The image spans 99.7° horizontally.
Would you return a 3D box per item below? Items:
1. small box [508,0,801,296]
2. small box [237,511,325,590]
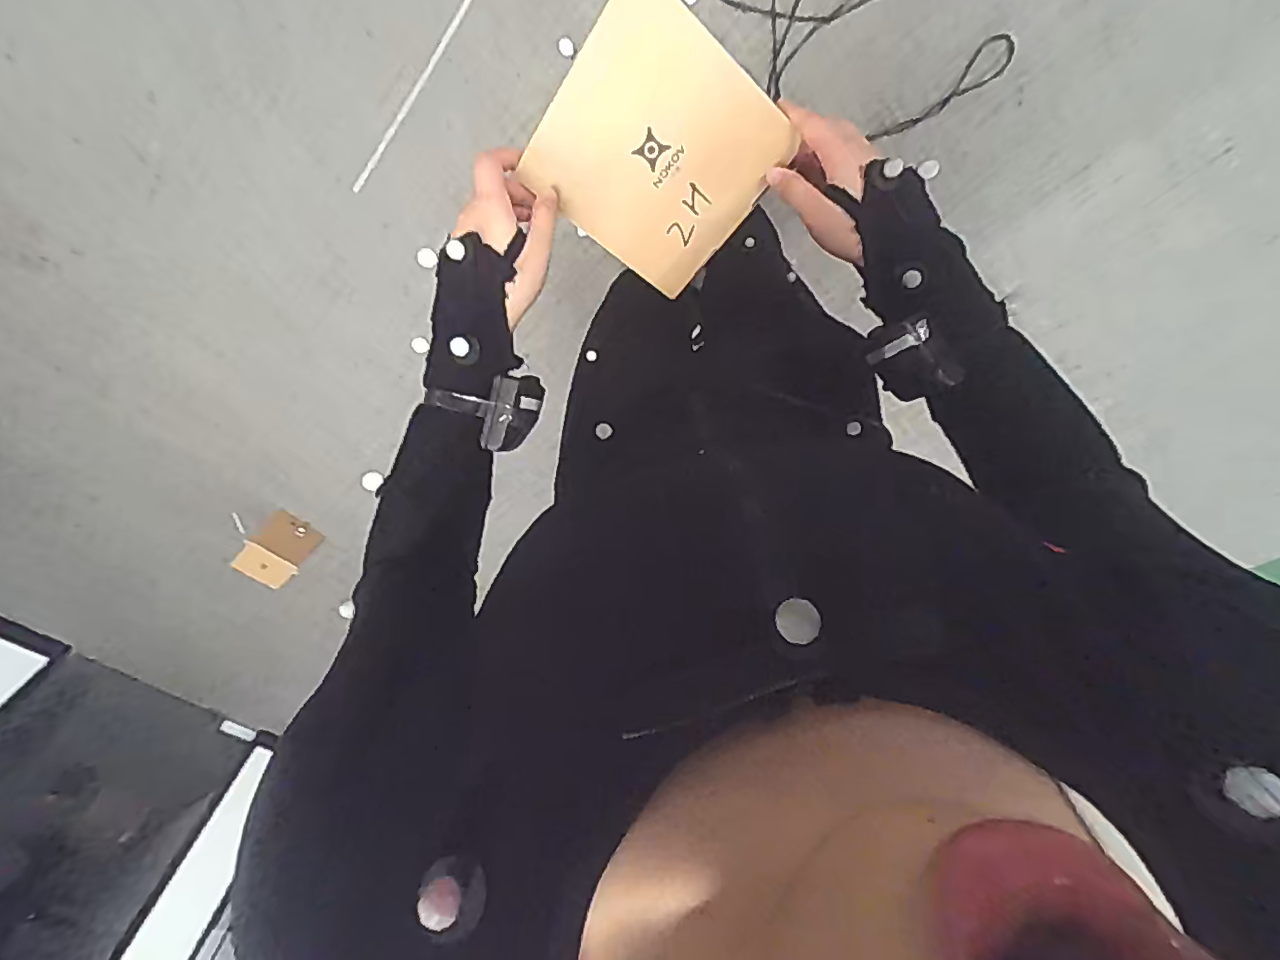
[{"bbox_3d":[0.007,-0.308,0.486,0.179,0.176,0.168,29,125,-26],"label":"small box"},{"bbox_3d":[-1.241,0.244,1.881,0.179,0.176,0.168,-36,117,27],"label":"small box"}]
